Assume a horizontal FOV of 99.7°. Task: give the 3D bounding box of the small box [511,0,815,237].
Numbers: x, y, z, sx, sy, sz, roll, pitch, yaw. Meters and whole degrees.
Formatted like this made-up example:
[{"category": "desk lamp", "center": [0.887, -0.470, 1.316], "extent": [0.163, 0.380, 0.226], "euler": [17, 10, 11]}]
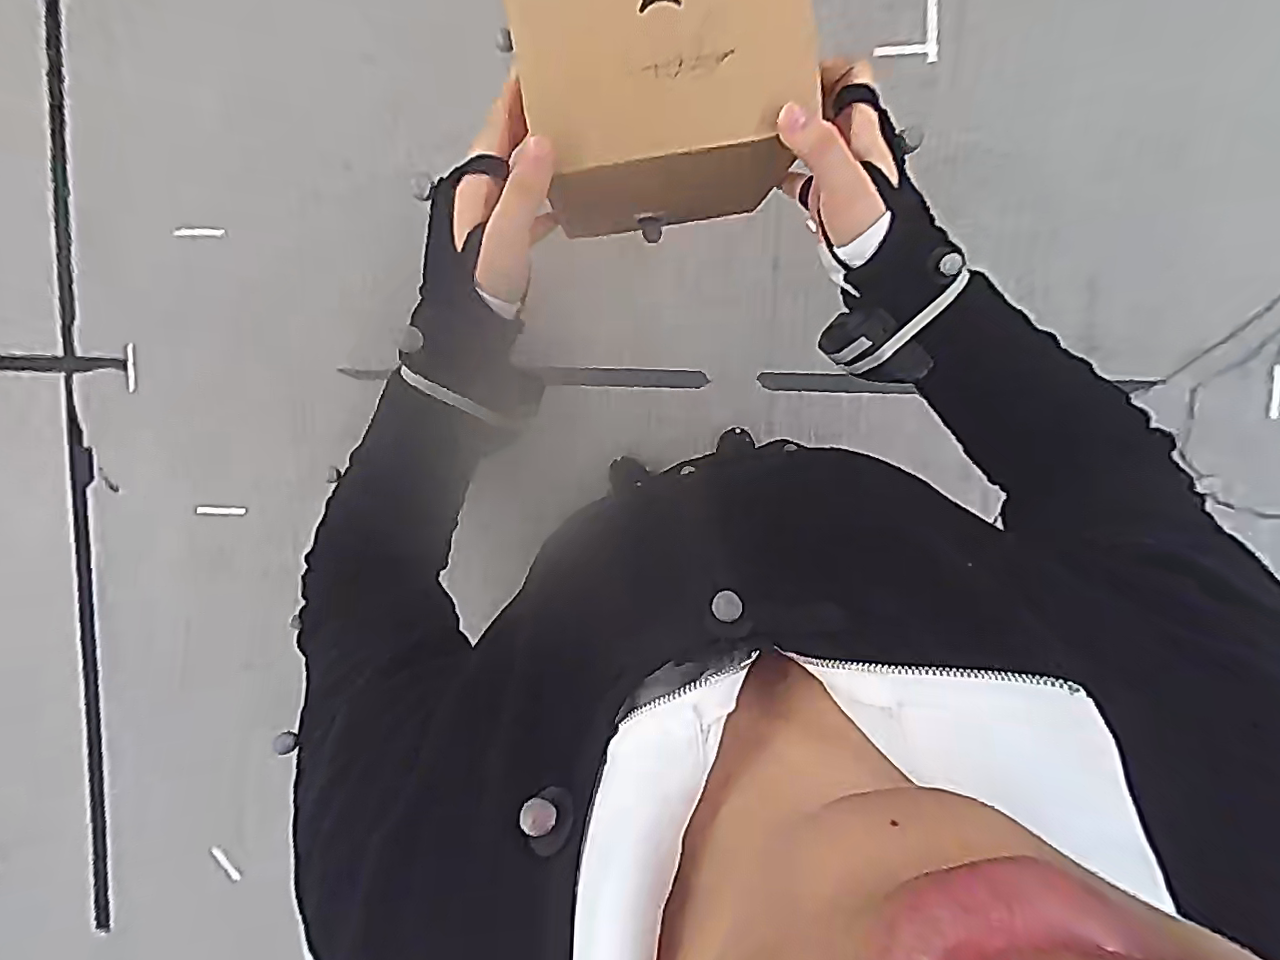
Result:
[{"category": "small box", "center": [0.007, -0.288, 0.372], "extent": [0.168, 0.176, 0.179], "euler": [-8, 102, 1]}]
